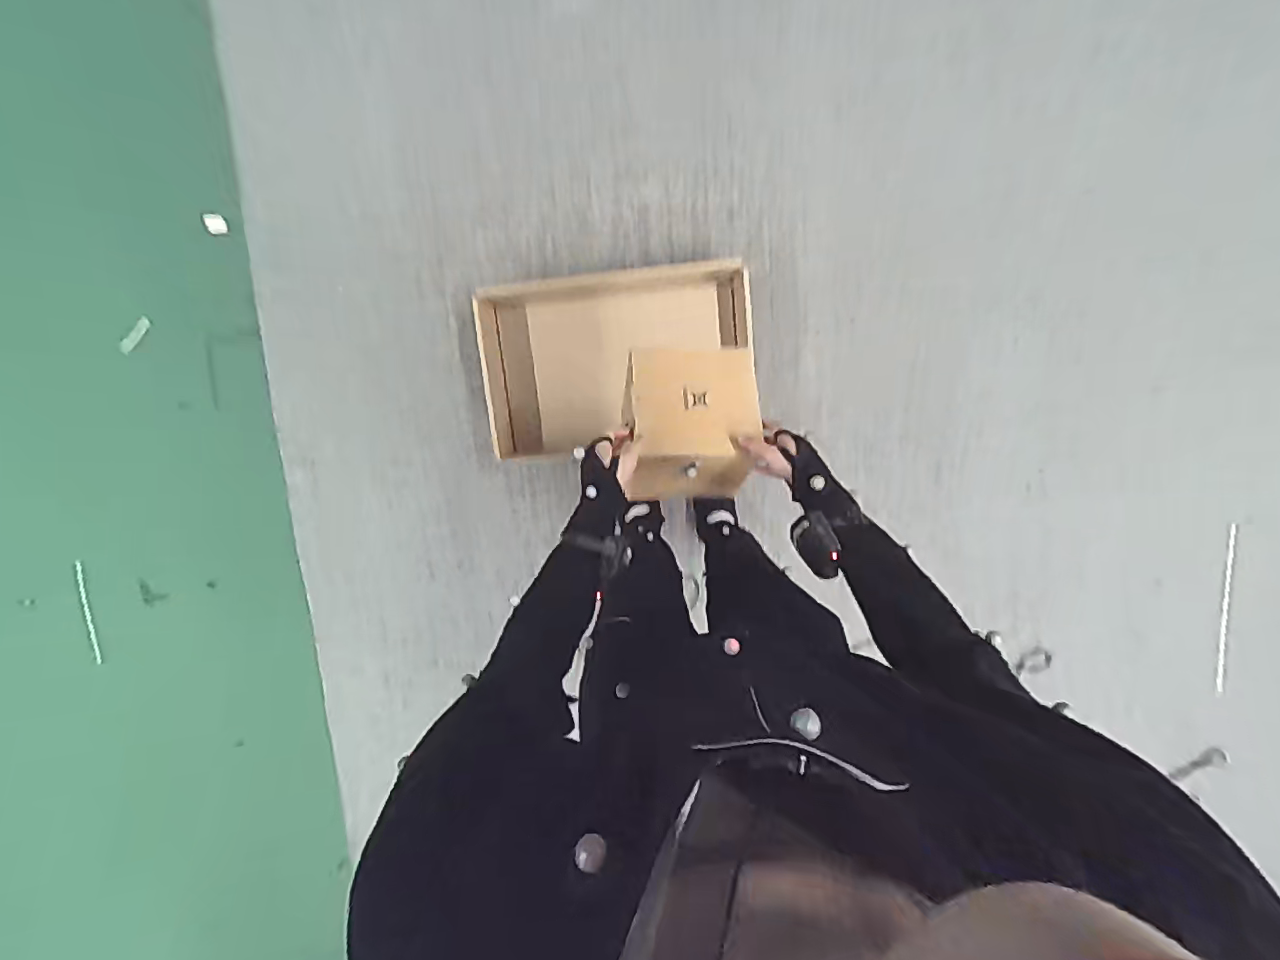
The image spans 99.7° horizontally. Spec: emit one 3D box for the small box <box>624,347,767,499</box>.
[{"bbox_3d":[0.070,-0.077,0.795,0.179,0.176,0.168,-1,67,-5],"label":"small box"}]
